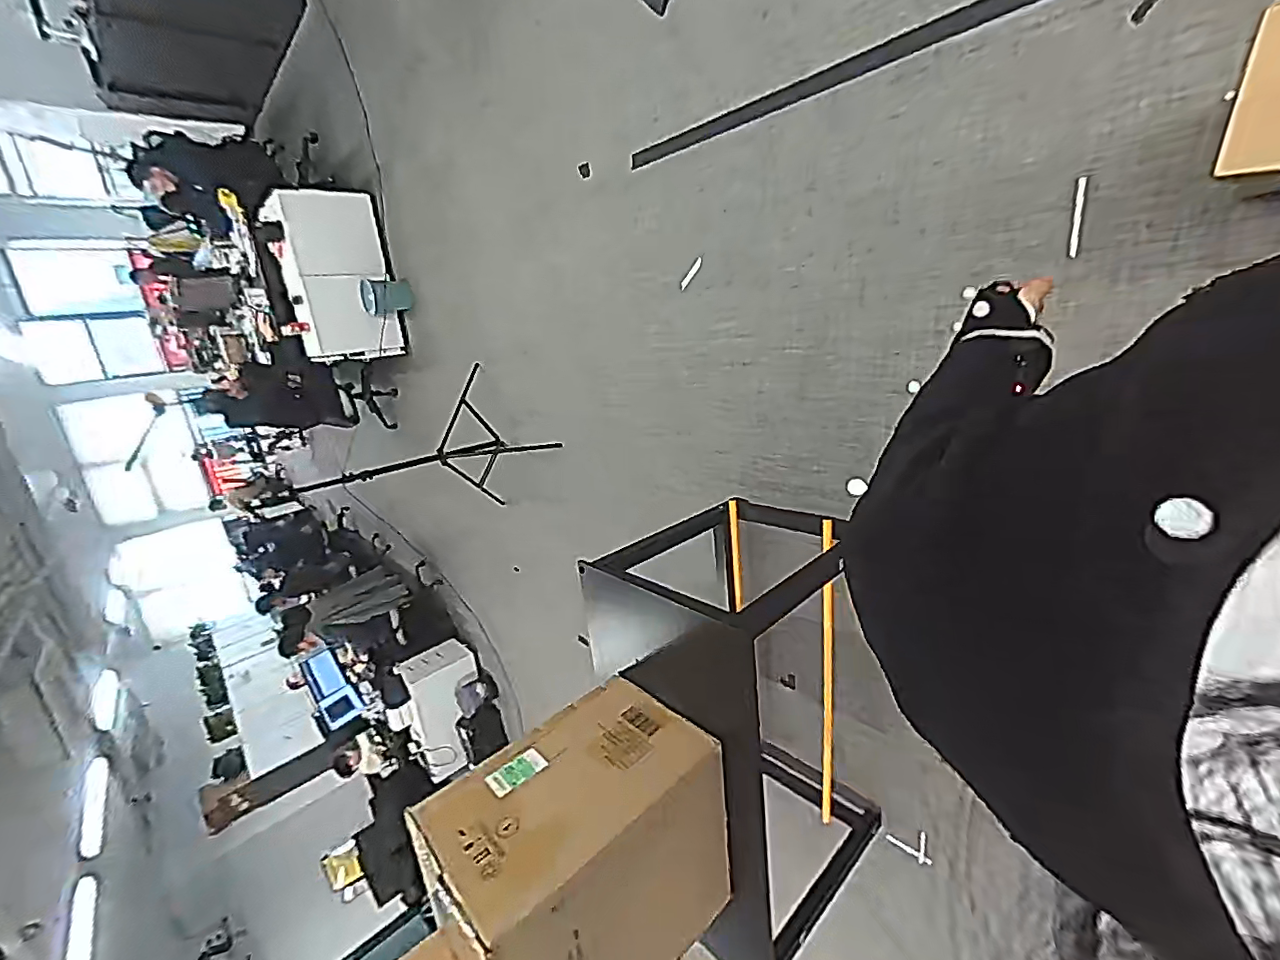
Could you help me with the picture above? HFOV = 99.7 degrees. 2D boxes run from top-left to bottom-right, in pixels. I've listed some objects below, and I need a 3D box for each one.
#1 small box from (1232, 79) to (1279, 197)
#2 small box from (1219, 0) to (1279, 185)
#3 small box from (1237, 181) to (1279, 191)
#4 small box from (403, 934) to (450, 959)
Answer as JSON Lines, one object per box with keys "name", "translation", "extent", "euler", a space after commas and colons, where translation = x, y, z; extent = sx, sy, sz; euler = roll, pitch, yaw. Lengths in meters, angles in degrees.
{"name": "small box", "translation": [1.048, -0.545, 0.826], "extent": [0.179, 0.176, 0.168], "euler": [7, 111, 47]}
{"name": "small box", "translation": [0.813, -0.450, 0.619], "extent": [0.168, 0.176, 0.179], "euler": [20, 122, 44]}
{"name": "small box", "translation": [0.932, -0.501, 0.719], "extent": [0.168, 0.176, 0.179], "euler": [13, 116, 46]}
{"name": "small box", "translation": [-0.479, 1.169, 1.183], "extent": [0.179, 0.176, 0.168], "euler": [15, 116, 47]}
